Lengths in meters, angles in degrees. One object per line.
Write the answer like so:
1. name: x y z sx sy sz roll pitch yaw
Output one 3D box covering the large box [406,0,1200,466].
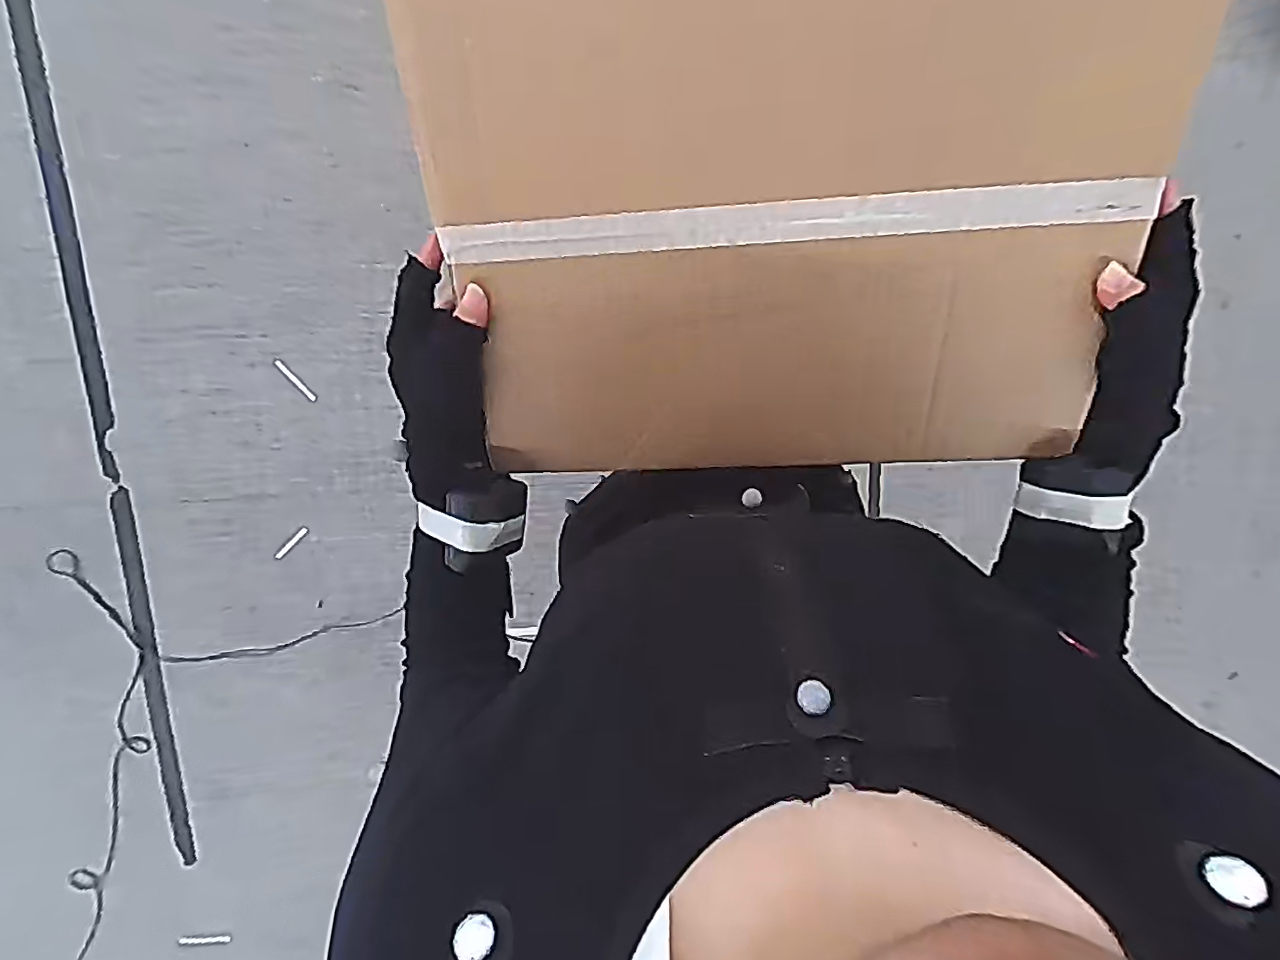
1. large box: 0.088 -0.223 0.455 0.408 0.320 0.320 -2 120 4
